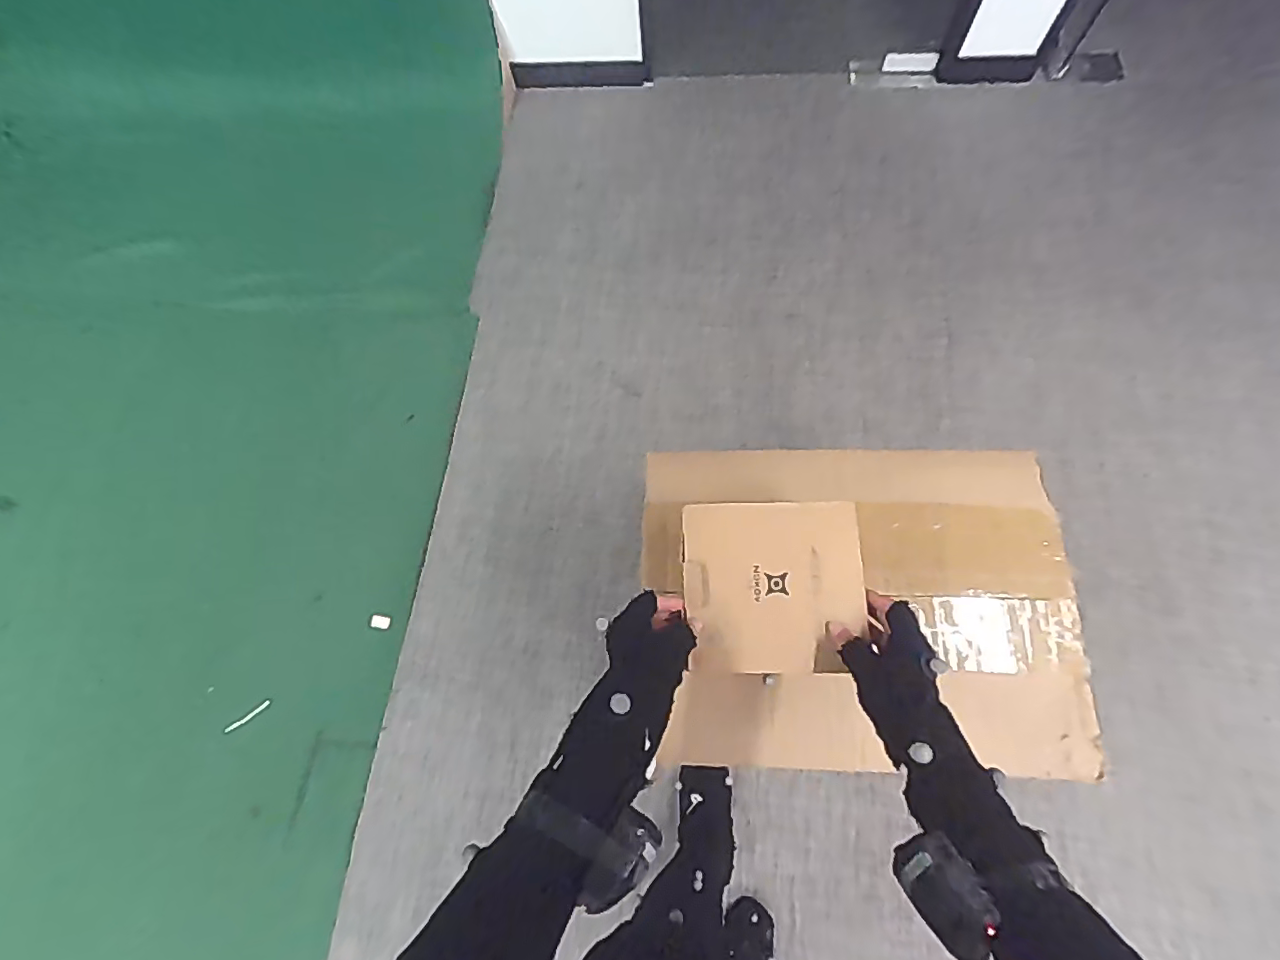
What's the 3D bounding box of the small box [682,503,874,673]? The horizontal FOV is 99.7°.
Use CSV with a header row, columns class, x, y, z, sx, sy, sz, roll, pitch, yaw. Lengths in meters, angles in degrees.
class,x,y,z,sx,sy,sz,roll,pitch,yaw
small box,0.138,0.125,0.606,0.179,0.176,0.168,-2,74,3
